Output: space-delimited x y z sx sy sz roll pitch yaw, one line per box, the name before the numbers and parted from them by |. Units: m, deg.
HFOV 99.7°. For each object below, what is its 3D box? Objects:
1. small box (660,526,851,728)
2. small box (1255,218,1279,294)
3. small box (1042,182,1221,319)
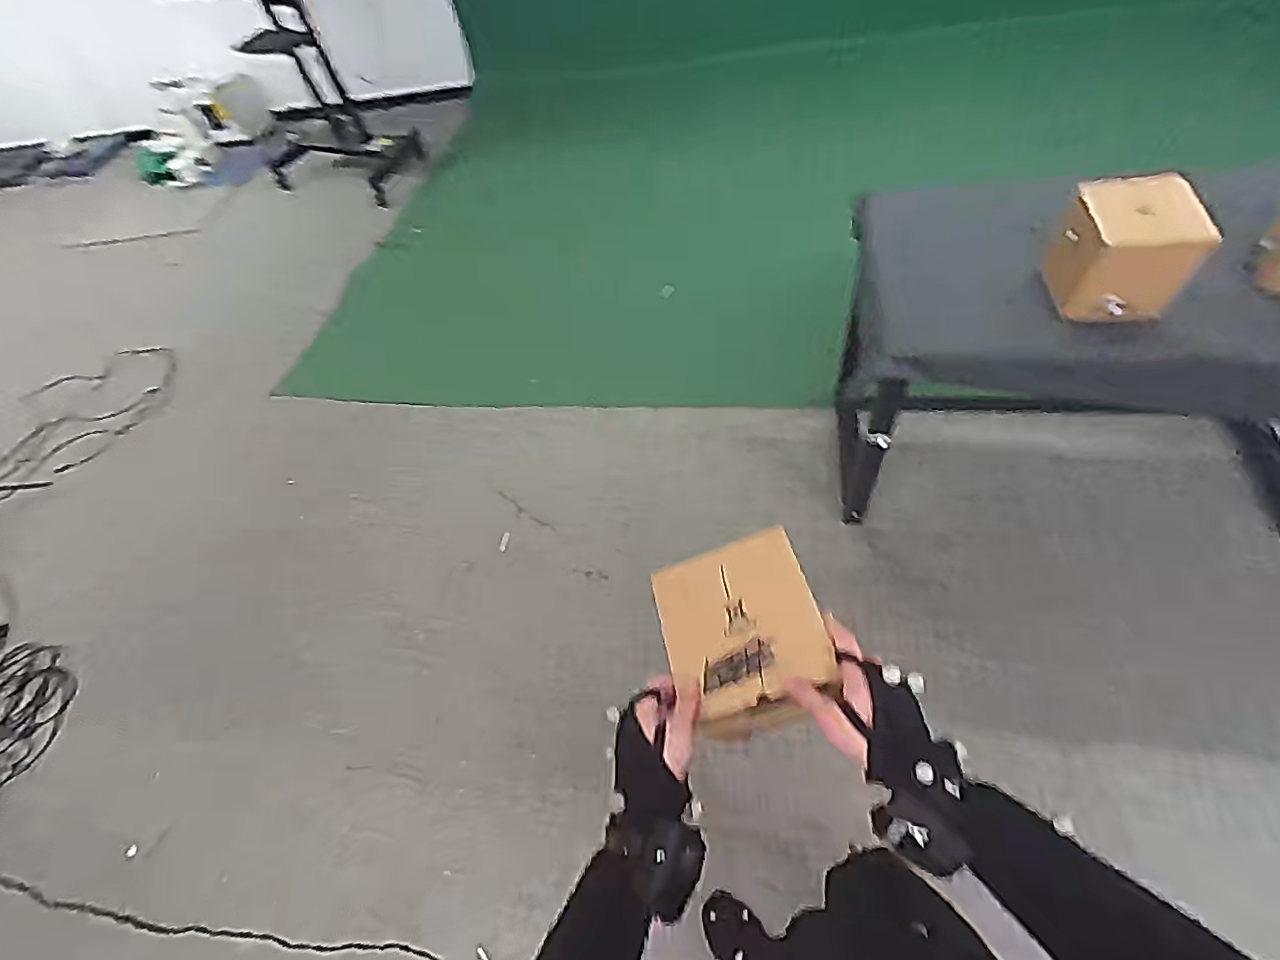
small box | 0.141 0.186 0.648 0.168 0.176 0.179 -21 54 11
small box | 1.267 -0.433 0.966 0.168 0.176 0.179 22 63 24
small box | 0.899 -0.426 1.015 0.168 0.176 0.179 0 57 12
